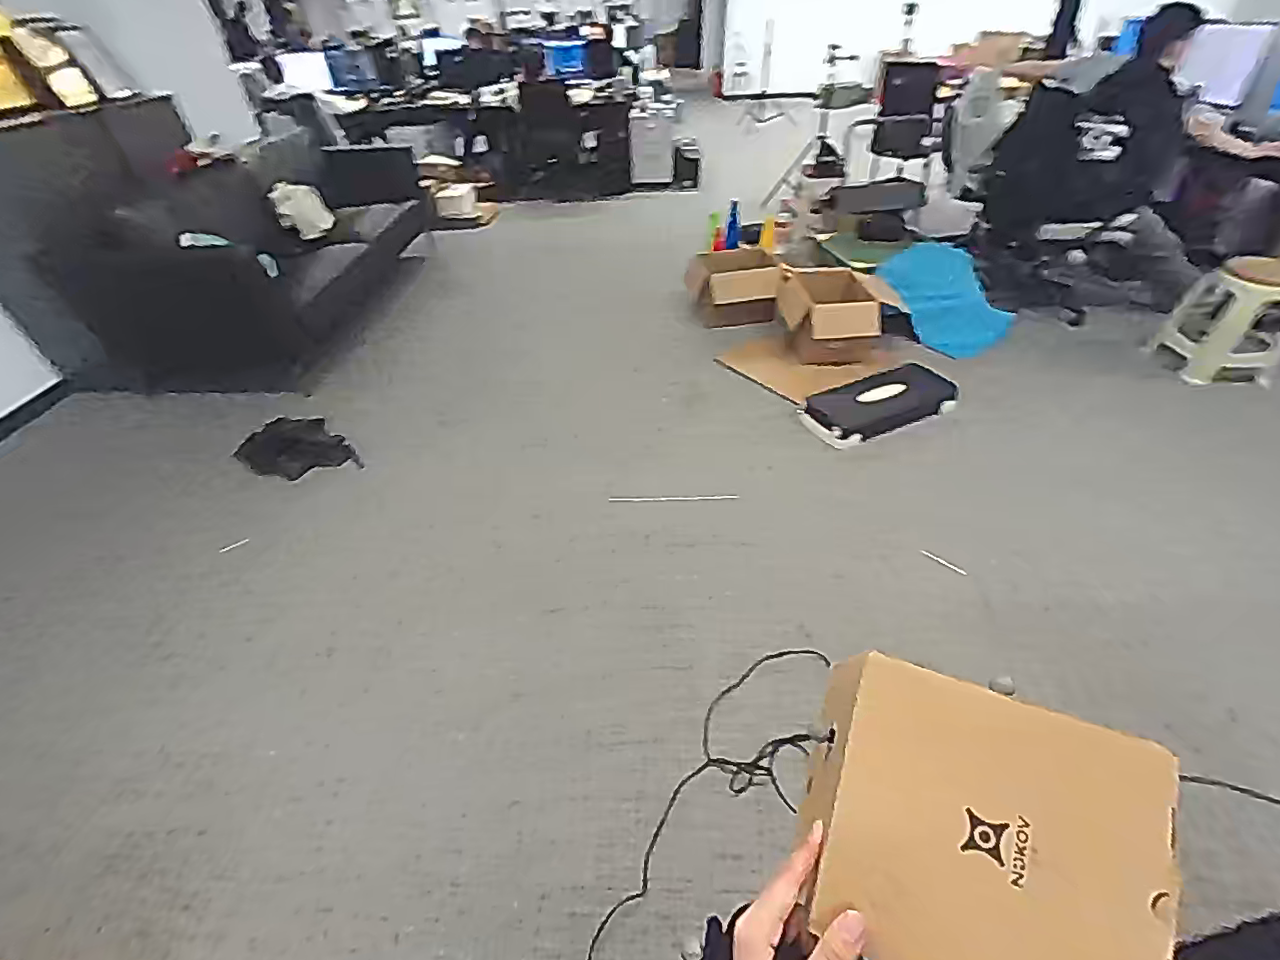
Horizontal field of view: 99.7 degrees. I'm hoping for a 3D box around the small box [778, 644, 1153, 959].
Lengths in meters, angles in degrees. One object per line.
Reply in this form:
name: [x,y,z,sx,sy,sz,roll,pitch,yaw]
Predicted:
small box: [0.205,0.233,0.385,0.179,0.176,0.168,15,71,15]
